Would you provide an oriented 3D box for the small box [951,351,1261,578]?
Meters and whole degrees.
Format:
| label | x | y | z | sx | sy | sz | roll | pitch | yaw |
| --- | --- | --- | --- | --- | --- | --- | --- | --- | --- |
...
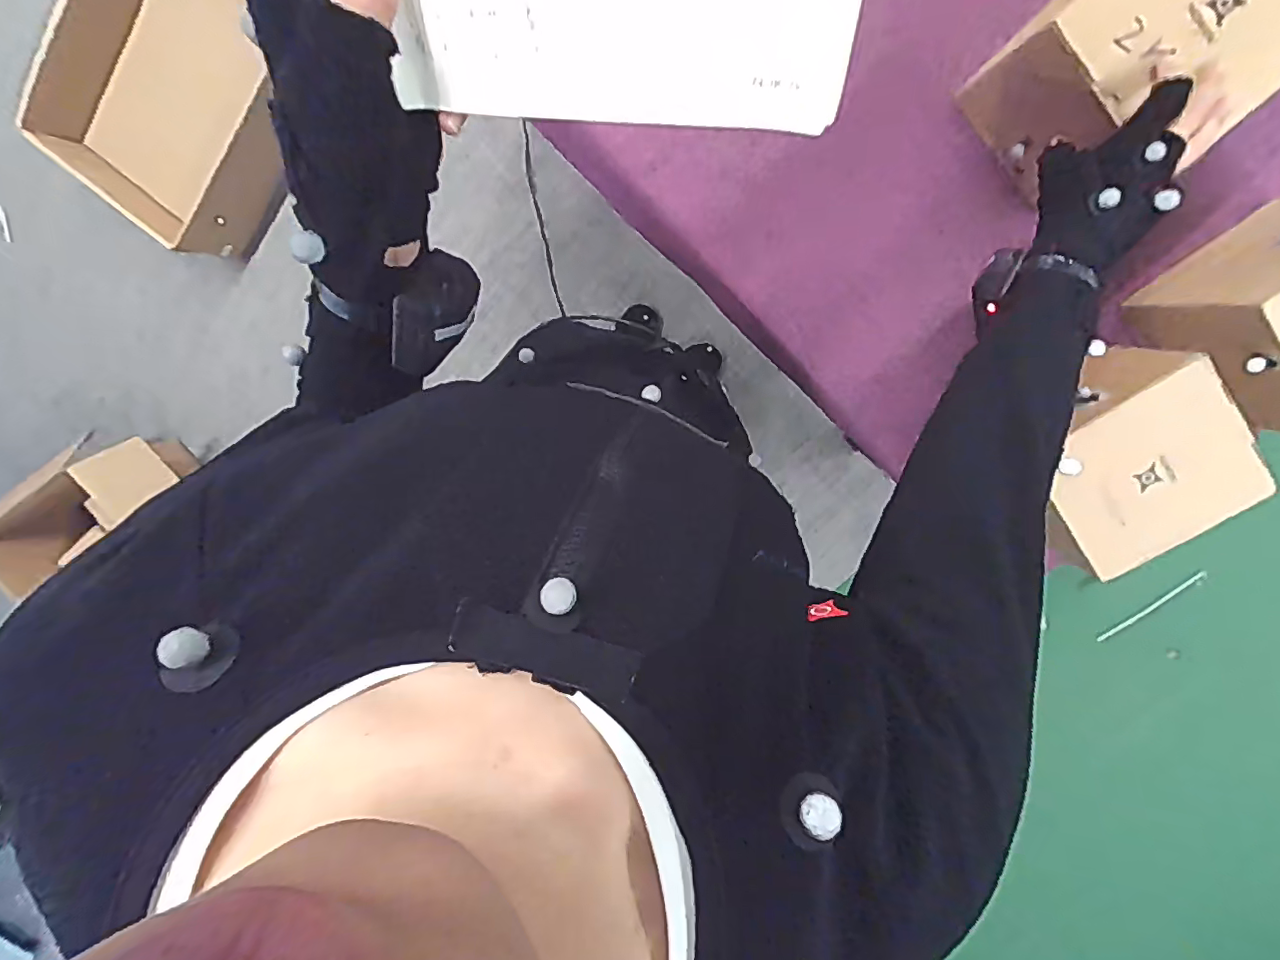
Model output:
| label | x | y | z | sx | sy | sz | roll | pitch | yaw |
| --- | --- | --- | --- | --- | --- | --- | --- | --- | --- |
| small box | 0.502 | -0.029 | 0.610 | 0.179 | 0.176 | 0.168 | -35 | 102 | 14 |

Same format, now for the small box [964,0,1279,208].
| label | x | y | z | sx | sy | sz | roll | pitch | yaw |
| --- | --- | --- | --- | --- | --- | --- | --- | --- | --- |
| small box | 0.450 | -0.385 | 0.494 | 0.179 | 0.176 | 0.168 | -42 | 101 | 16 |

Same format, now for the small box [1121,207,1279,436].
| label | x | y | z | sx | sy | sz | roll | pitch | yaw |
| --- | --- | --- | --- | --- | --- | --- | --- | --- | --- |
| small box | 0.668 | -0.168 | 0.552 | 0.179 | 0.176 | 0.168 | -37 | 102 | 14 |
